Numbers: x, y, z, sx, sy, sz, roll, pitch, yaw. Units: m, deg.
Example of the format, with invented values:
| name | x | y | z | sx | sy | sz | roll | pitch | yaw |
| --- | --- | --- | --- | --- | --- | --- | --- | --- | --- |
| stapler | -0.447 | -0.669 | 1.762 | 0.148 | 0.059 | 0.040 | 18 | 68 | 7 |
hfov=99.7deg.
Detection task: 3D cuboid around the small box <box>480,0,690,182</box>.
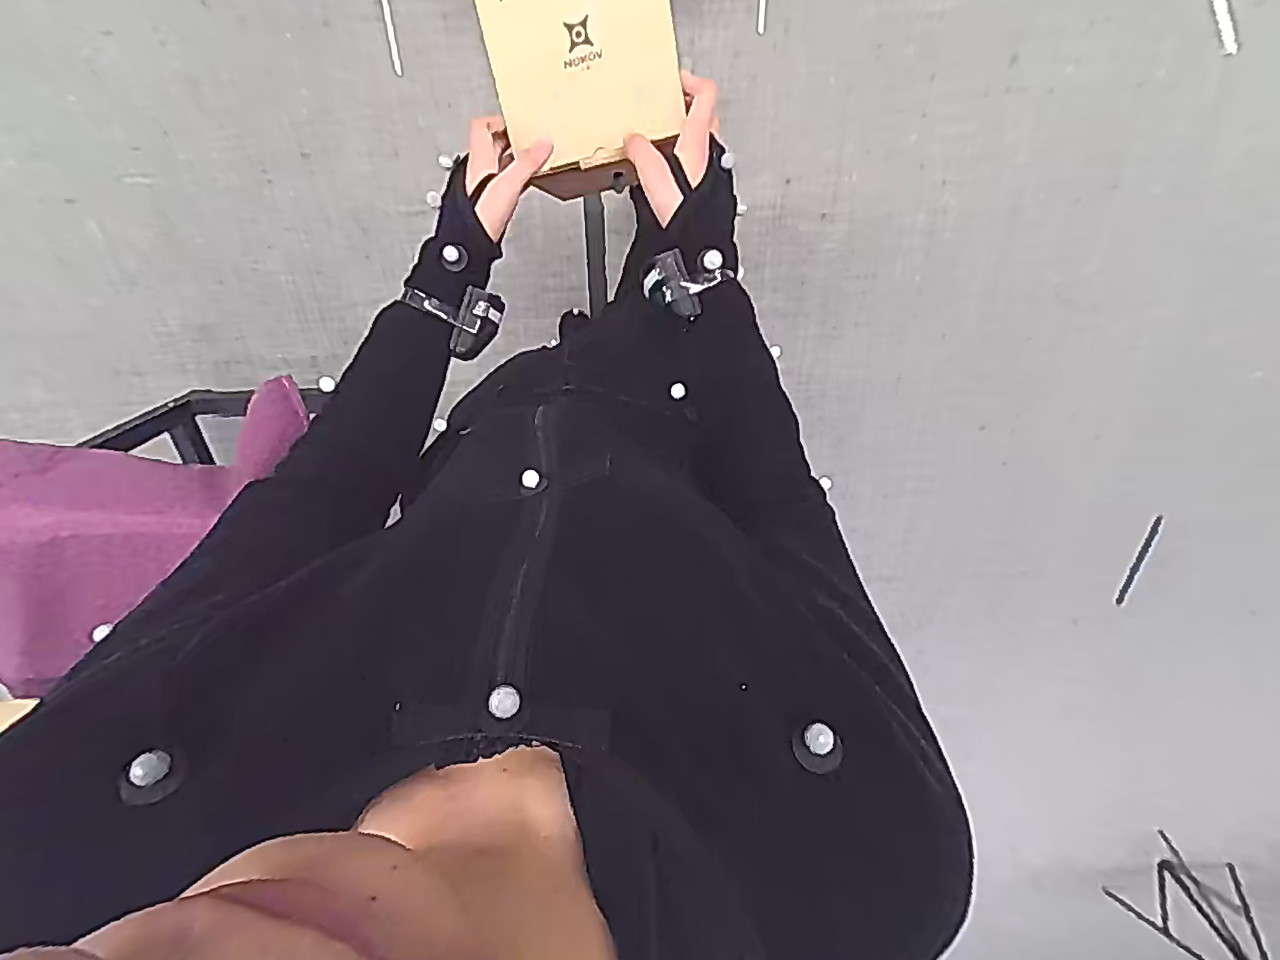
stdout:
| name | x | y | z | sx | sy | sz | roll | pitch | yaw |
| --- | --- | --- | --- | --- | --- | --- | --- | --- | --- |
| small box | -0.042 | -0.417 | 0.548 | 0.168 | 0.176 | 0.179 | -8 | 110 | 10 |
